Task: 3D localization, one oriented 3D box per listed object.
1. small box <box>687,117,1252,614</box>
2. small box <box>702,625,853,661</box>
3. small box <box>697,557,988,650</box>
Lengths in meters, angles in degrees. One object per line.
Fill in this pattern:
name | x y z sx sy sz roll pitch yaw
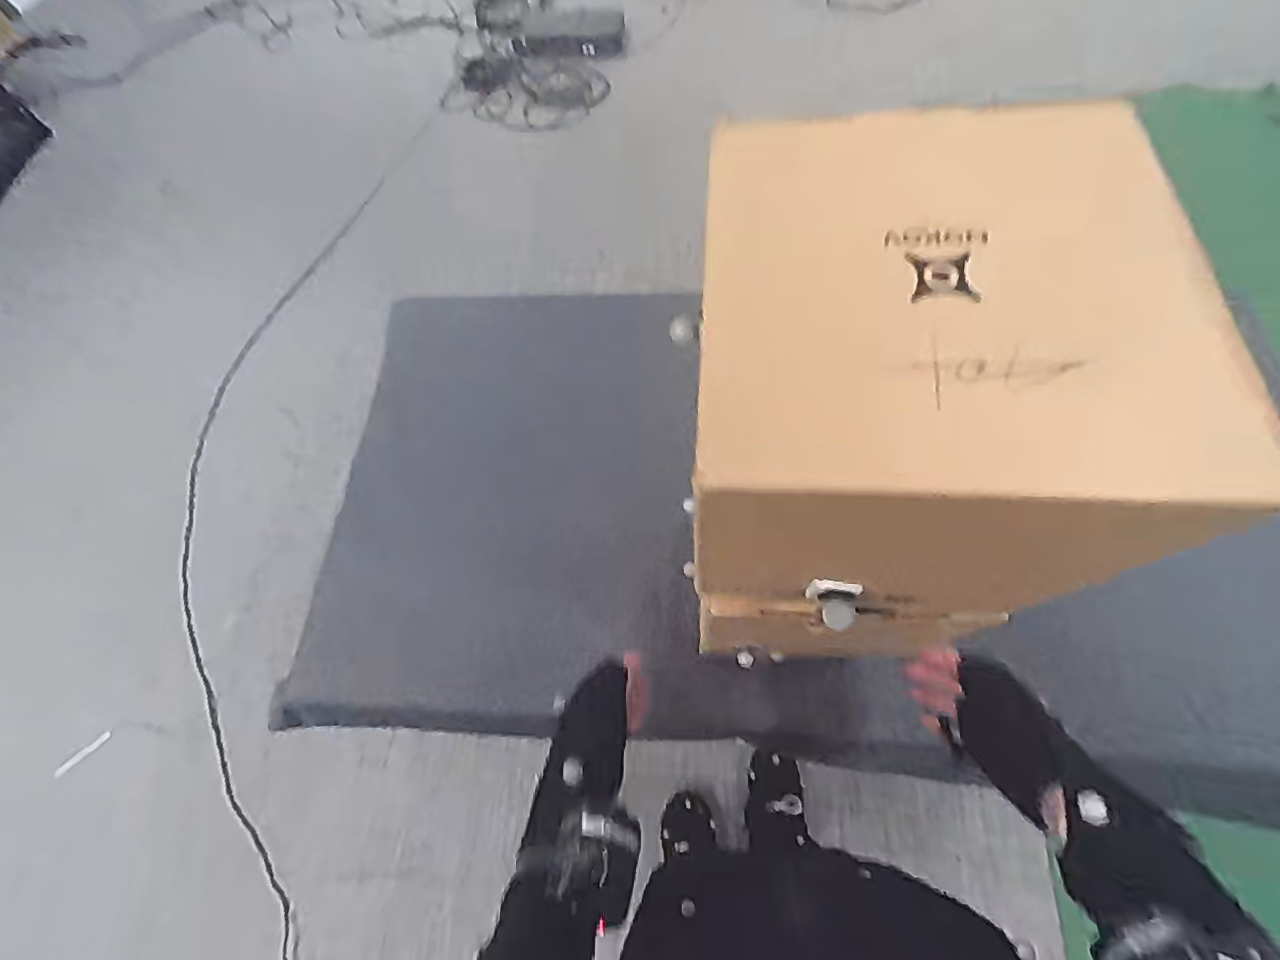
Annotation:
small box | 0.111 -0.041 0.272 0.168 0.176 0.179 1 66 8
small box | 0.149 0.091 0.570 0.179 0.176 0.168 -4 63 4
small box | 0.128 0.031 0.416 0.168 0.176 0.179 -1 64 6
